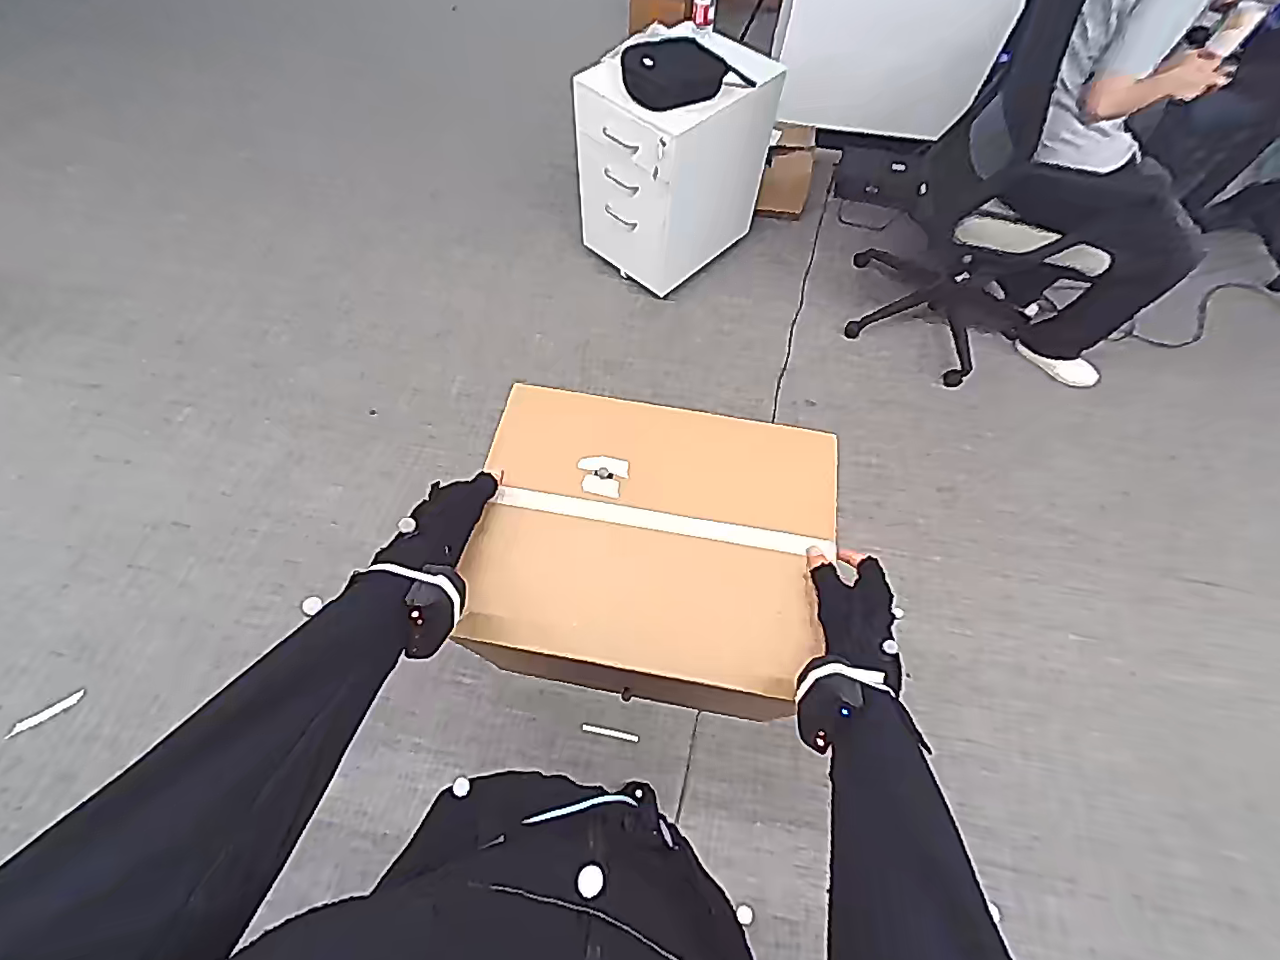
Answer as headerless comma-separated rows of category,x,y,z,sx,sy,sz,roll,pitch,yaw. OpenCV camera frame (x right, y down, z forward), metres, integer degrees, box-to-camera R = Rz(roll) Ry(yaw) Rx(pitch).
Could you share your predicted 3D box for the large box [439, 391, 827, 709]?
large box,0.011,0.115,0.746,0.408,0.320,0.320,10,63,5
